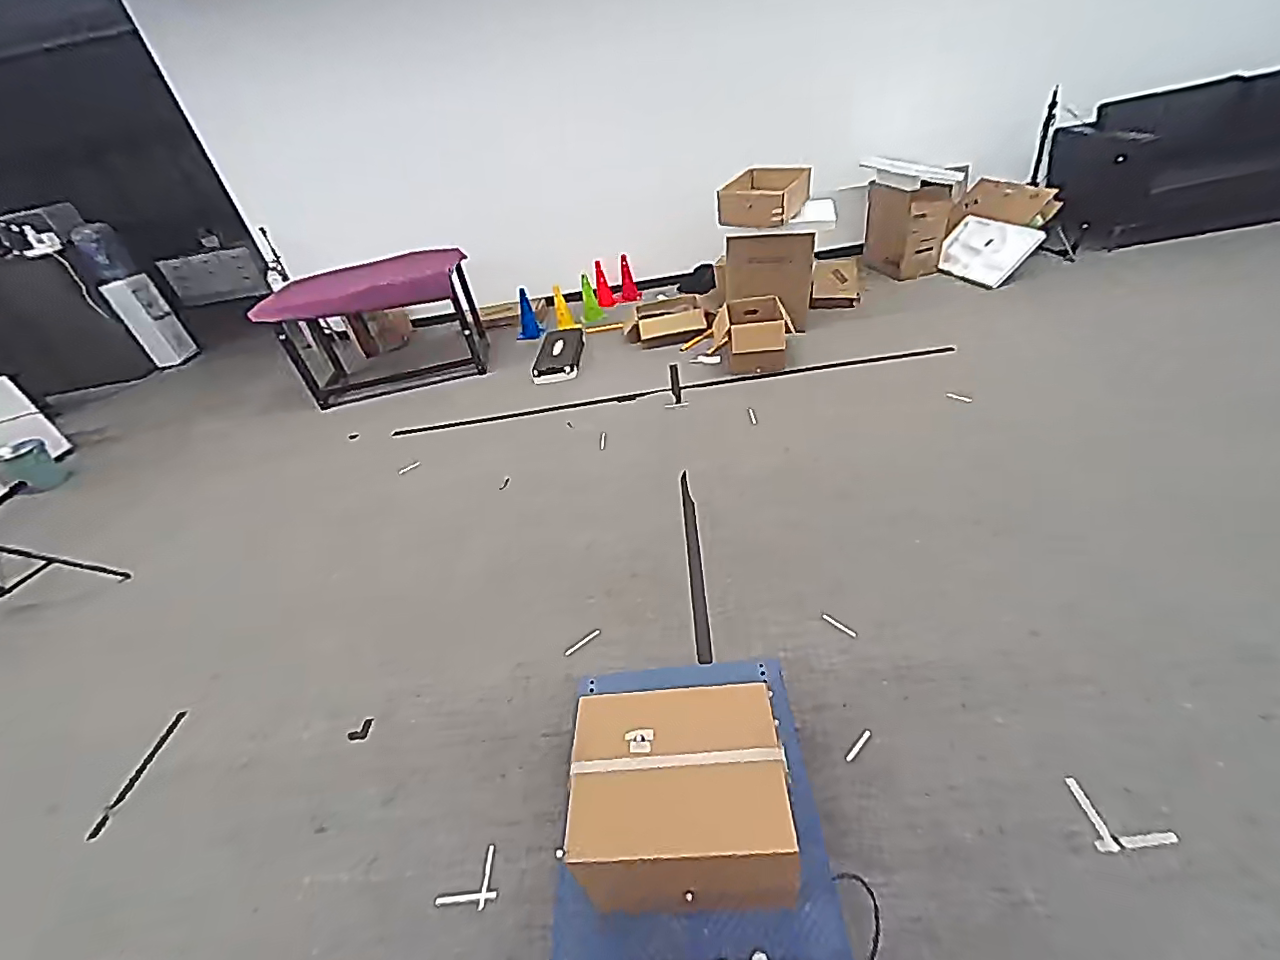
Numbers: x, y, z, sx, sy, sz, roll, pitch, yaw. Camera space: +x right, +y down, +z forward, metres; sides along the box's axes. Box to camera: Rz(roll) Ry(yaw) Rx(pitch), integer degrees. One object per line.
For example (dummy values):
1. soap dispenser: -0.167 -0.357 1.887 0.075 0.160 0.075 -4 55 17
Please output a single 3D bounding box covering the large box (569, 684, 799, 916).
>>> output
1. large box: 0.095 0.672 1.135 0.408 0.320 0.320 -8 36 6
